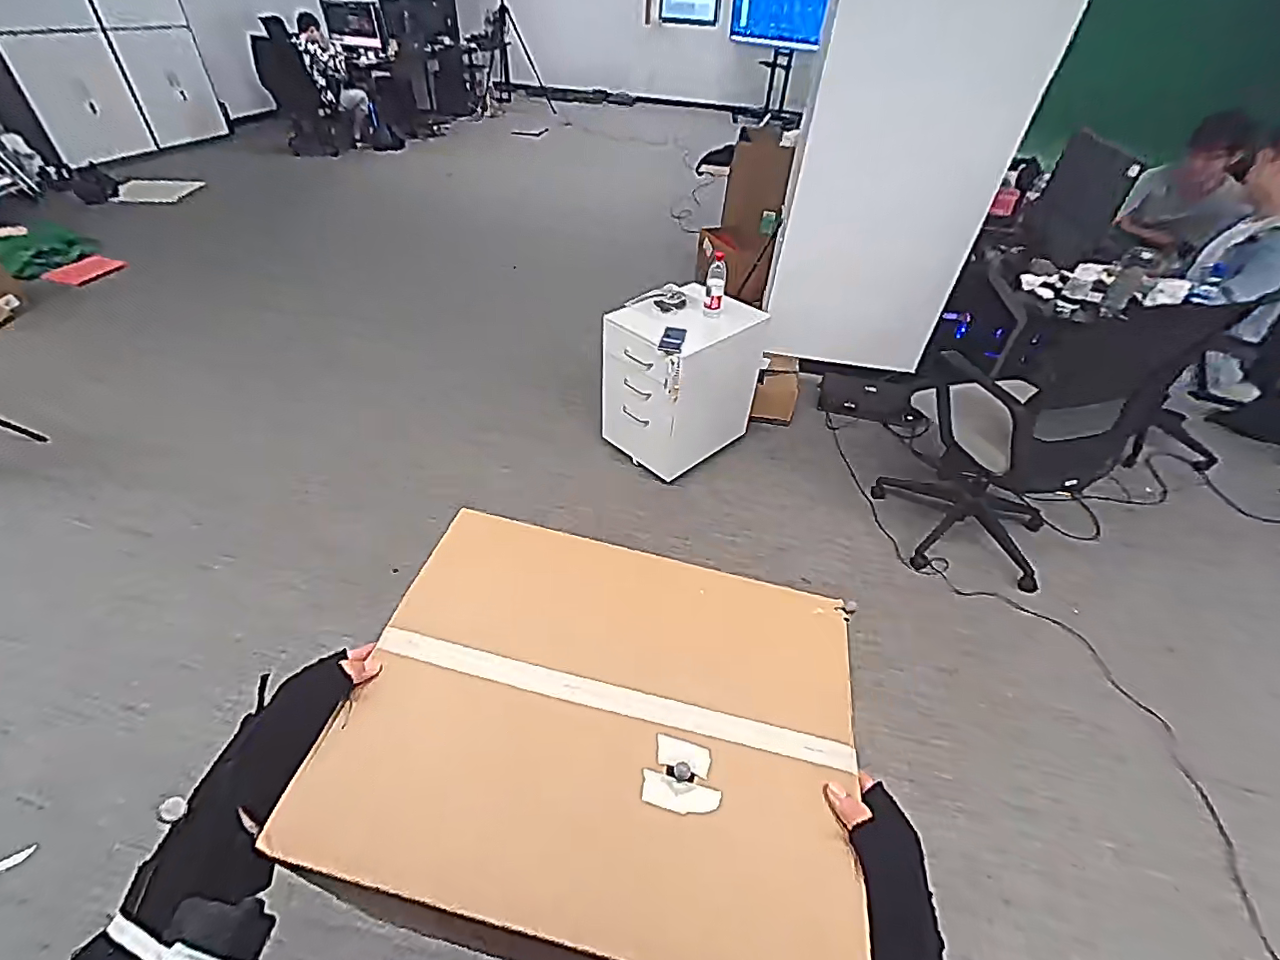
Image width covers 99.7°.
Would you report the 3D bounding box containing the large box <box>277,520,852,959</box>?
[{"bbox_3d":[-0.047,0.290,0.565,0.408,0.320,0.320,13,45,4],"label":"large box"}]
